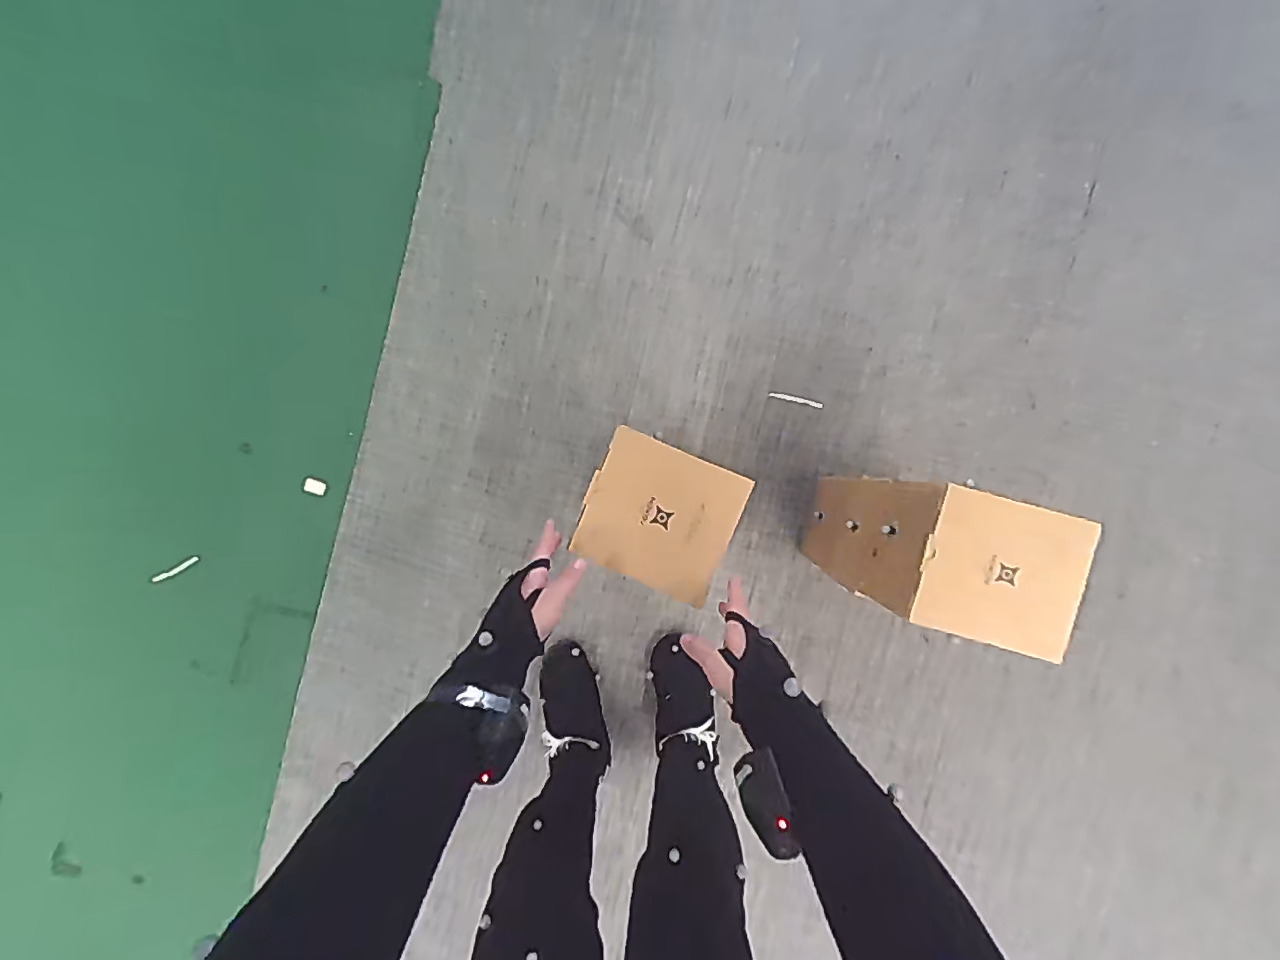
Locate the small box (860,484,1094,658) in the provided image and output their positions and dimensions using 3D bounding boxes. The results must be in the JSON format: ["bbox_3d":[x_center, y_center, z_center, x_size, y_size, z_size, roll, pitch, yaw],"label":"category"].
[{"bbox_3d":[0.412,0.102,0.693,0.179,0.176,0.168,15,91,5],"label":"small box"}]

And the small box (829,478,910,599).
[{"bbox_3d":[0.415,0.102,0.856,0.168,0.176,0.179,16,90,4],"label":"small box"}]

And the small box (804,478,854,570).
[{"bbox_3d":[0.426,0.098,1.020,0.179,0.176,0.168,15,92,4],"label":"small box"}]

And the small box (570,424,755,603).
[{"bbox_3d":[0.031,0.042,0.722,0.179,0.176,0.168,24,91,4],"label":"small box"}]
